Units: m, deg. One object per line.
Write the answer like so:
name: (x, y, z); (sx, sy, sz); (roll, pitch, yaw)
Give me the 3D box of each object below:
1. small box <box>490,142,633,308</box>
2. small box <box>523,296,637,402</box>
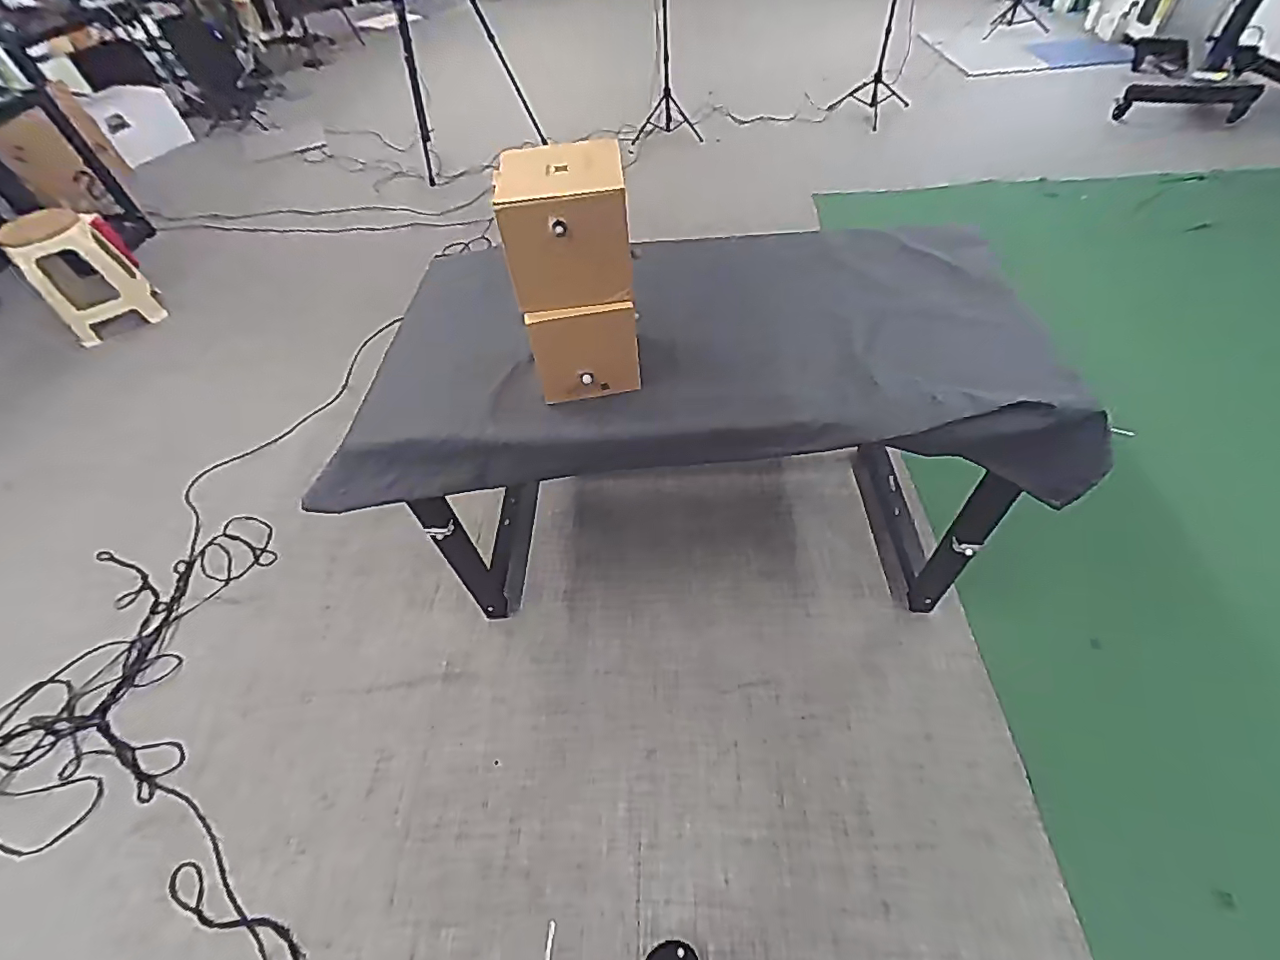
small box: (-0.108, -0.372, 0.803); (0.179, 0.176, 0.168); (-6, 52, -1)
small box: (-0.101, -0.258, 0.920); (0.168, 0.176, 0.179); (-10, 51, -3)
